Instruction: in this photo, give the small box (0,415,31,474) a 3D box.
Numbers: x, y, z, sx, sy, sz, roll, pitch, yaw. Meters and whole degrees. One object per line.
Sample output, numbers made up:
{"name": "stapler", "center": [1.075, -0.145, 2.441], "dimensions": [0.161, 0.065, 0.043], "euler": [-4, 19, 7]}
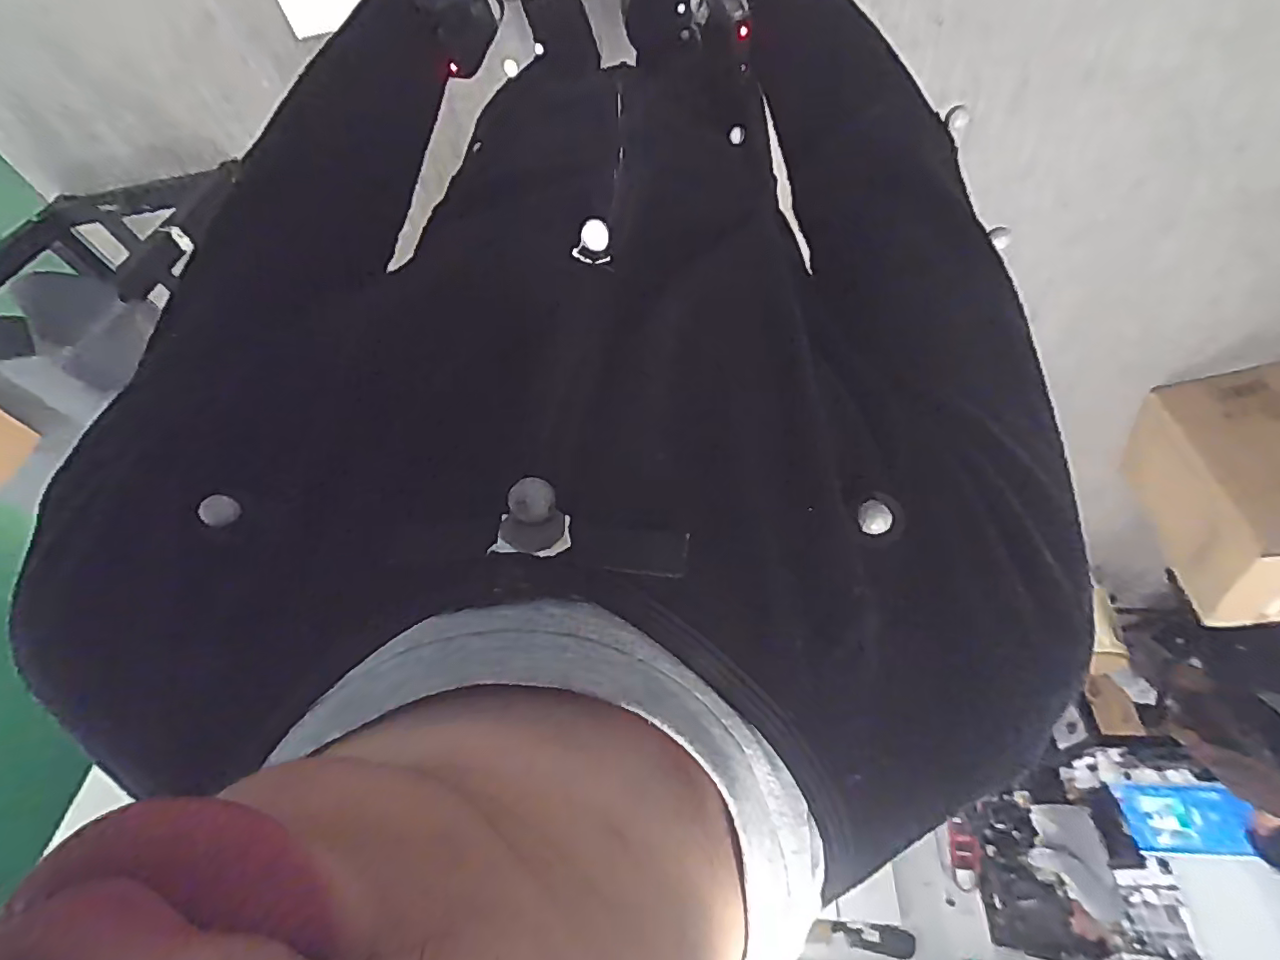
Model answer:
{"name": "small box", "center": [-1.296, -0.070, 0.969], "dimensions": [0.168, 0.176, 0.179], "euler": [-1, 145, 5]}
